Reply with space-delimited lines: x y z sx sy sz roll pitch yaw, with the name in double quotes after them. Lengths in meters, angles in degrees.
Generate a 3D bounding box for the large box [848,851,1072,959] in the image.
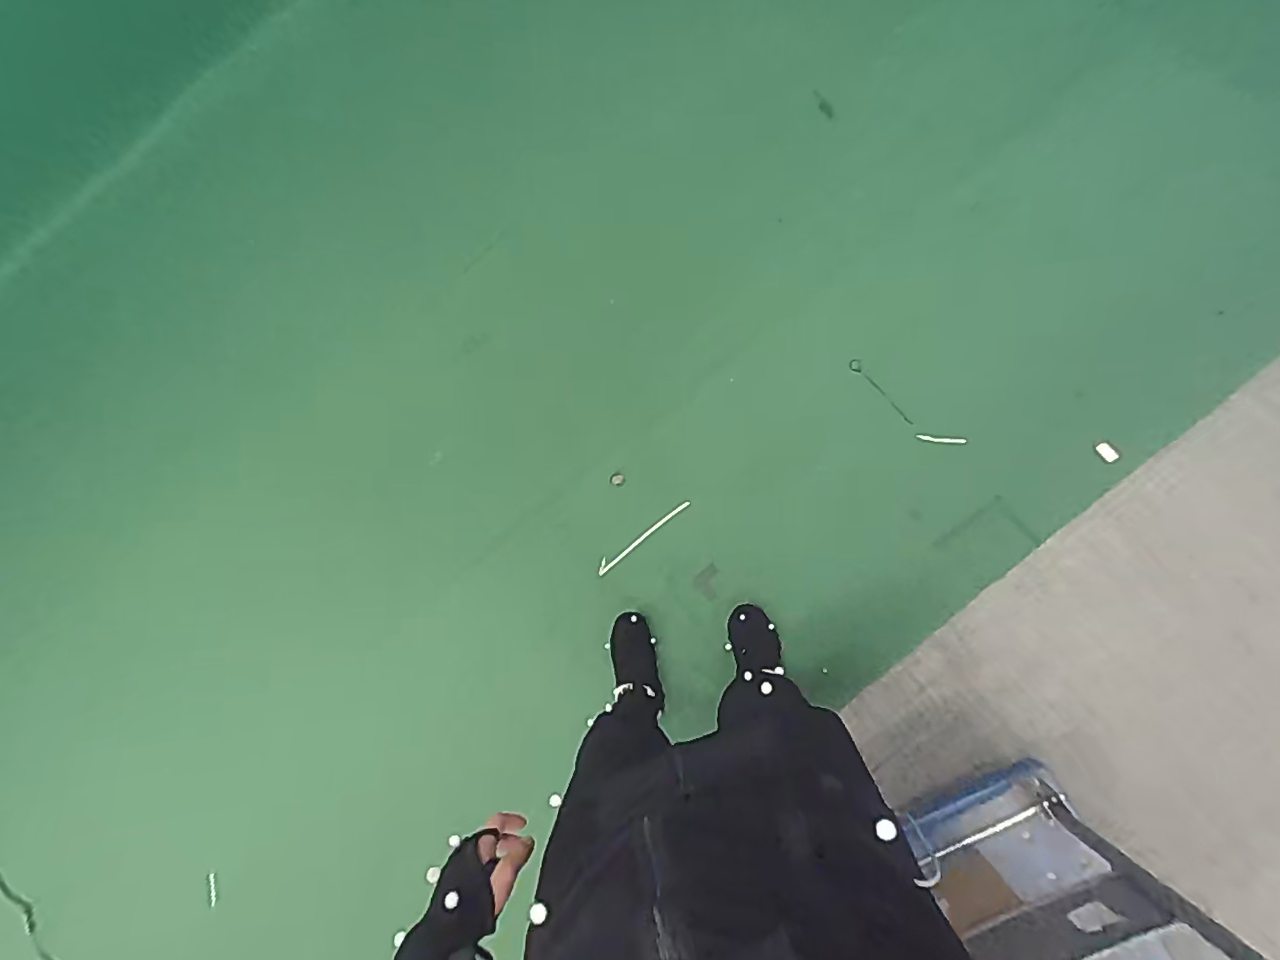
0.629 0.972 0.928 0.320 0.320 0.408 -31 78 5 "large box"
